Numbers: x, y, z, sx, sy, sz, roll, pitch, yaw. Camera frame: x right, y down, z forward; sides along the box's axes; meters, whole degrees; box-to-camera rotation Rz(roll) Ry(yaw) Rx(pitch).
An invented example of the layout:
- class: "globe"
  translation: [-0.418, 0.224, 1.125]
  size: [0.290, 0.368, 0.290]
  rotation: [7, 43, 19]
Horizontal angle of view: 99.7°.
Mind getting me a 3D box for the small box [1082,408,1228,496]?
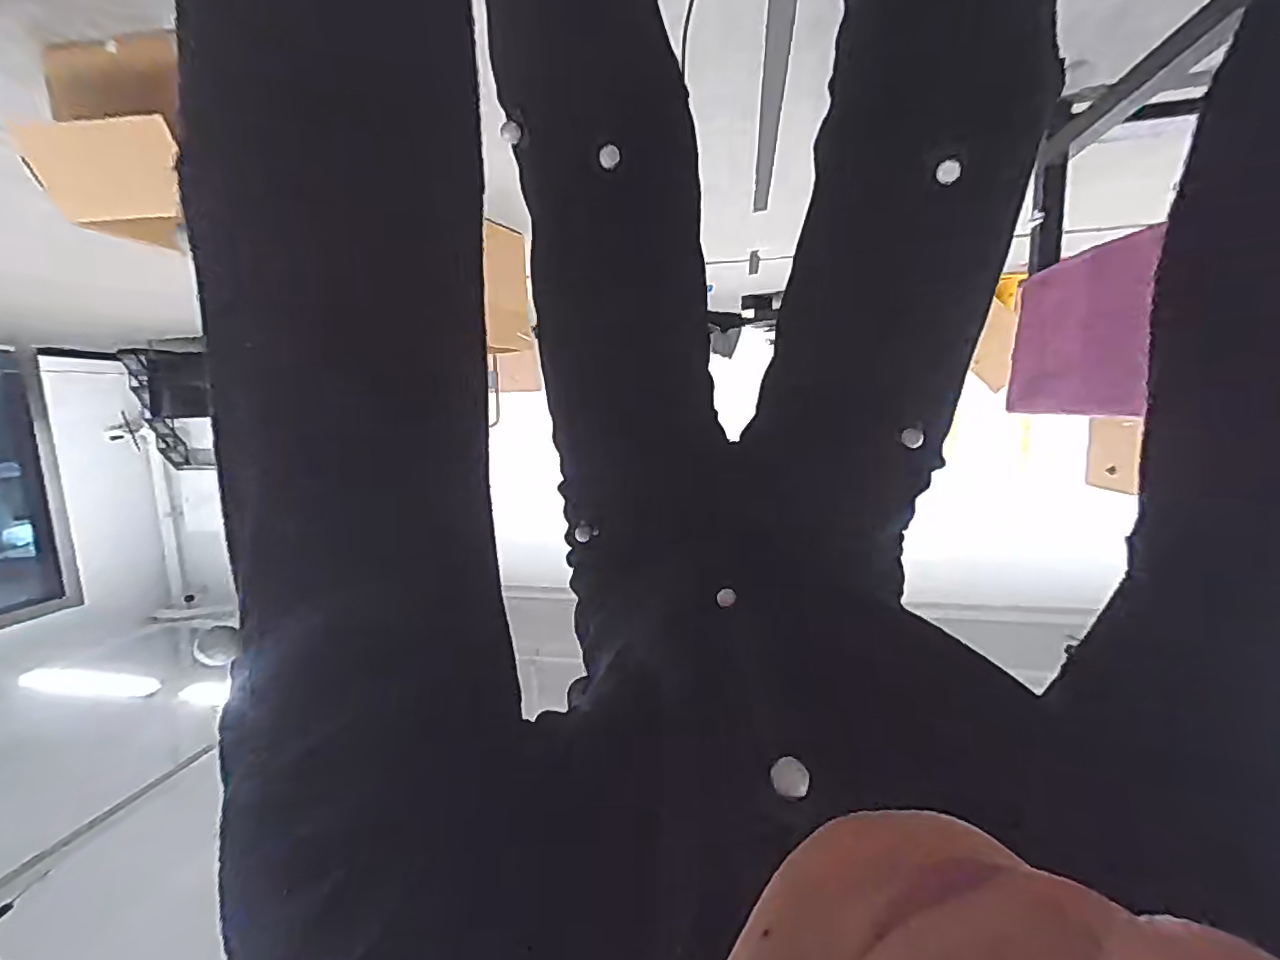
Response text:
- class: "small box"
  translation: [1.091, -0.063, 1.155]
  size: [0.168, 0.176, 0.179]
  rotation: [0, -171, 9]
